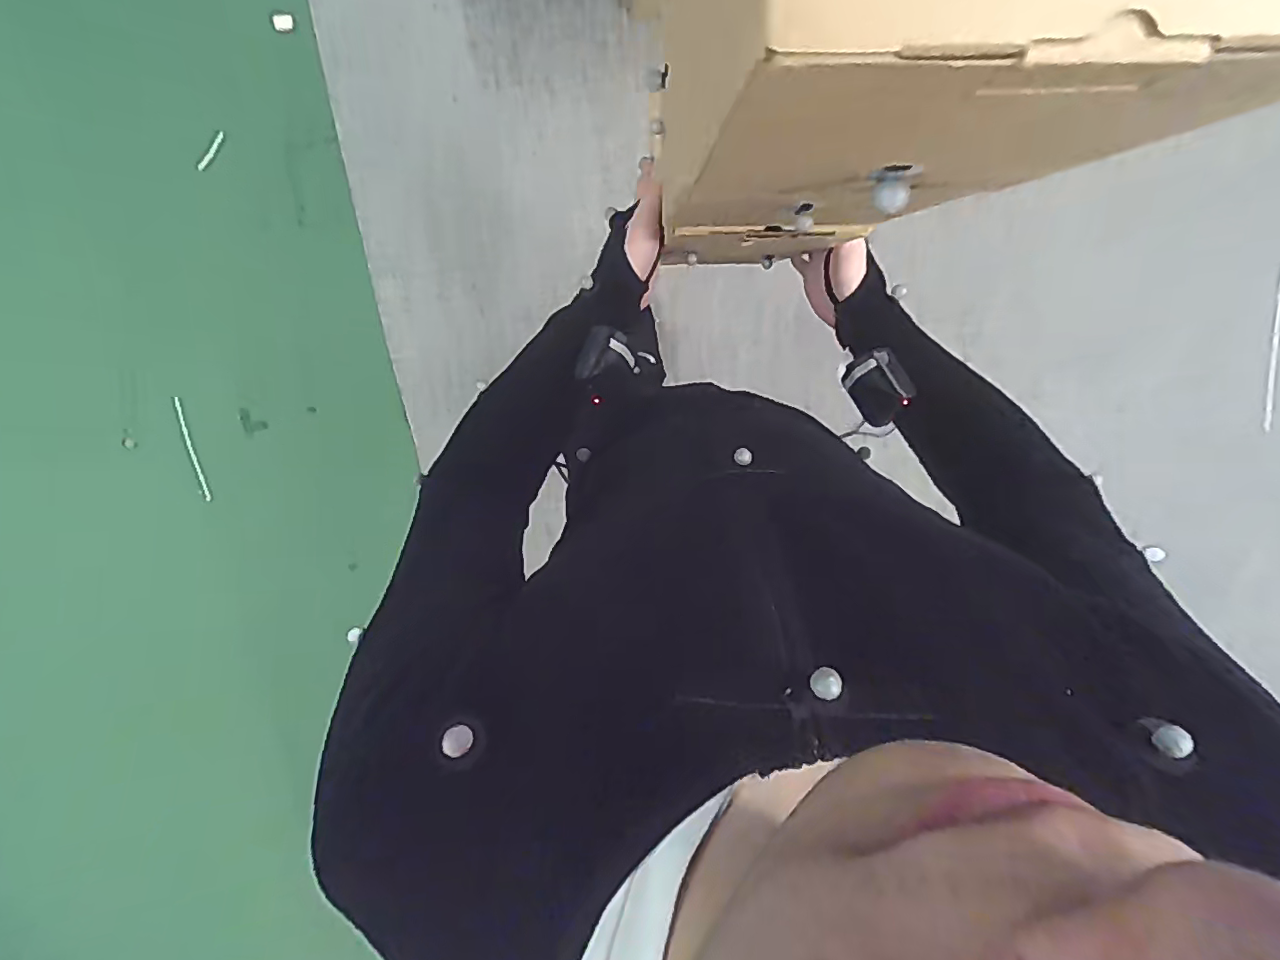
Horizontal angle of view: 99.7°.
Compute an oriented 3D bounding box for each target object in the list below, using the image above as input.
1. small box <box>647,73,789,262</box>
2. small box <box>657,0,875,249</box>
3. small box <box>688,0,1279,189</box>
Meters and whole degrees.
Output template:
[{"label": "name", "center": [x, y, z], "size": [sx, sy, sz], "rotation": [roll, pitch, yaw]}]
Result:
[{"label": "small box", "center": [0.097, -0.354, 0.643], "size": [0.179, 0.176, 0.168], "rotation": [-1, 107, -2]}, {"label": "small box", "center": [0.104, -0.308, 0.485], "size": [0.168, 0.176, 0.179], "rotation": [0, 107, -2]}, {"label": "small box", "center": [0.105, -0.208, 0.171], "size": [0.168, 0.176, 0.179], "rotation": [-1, 108, -1]}]
